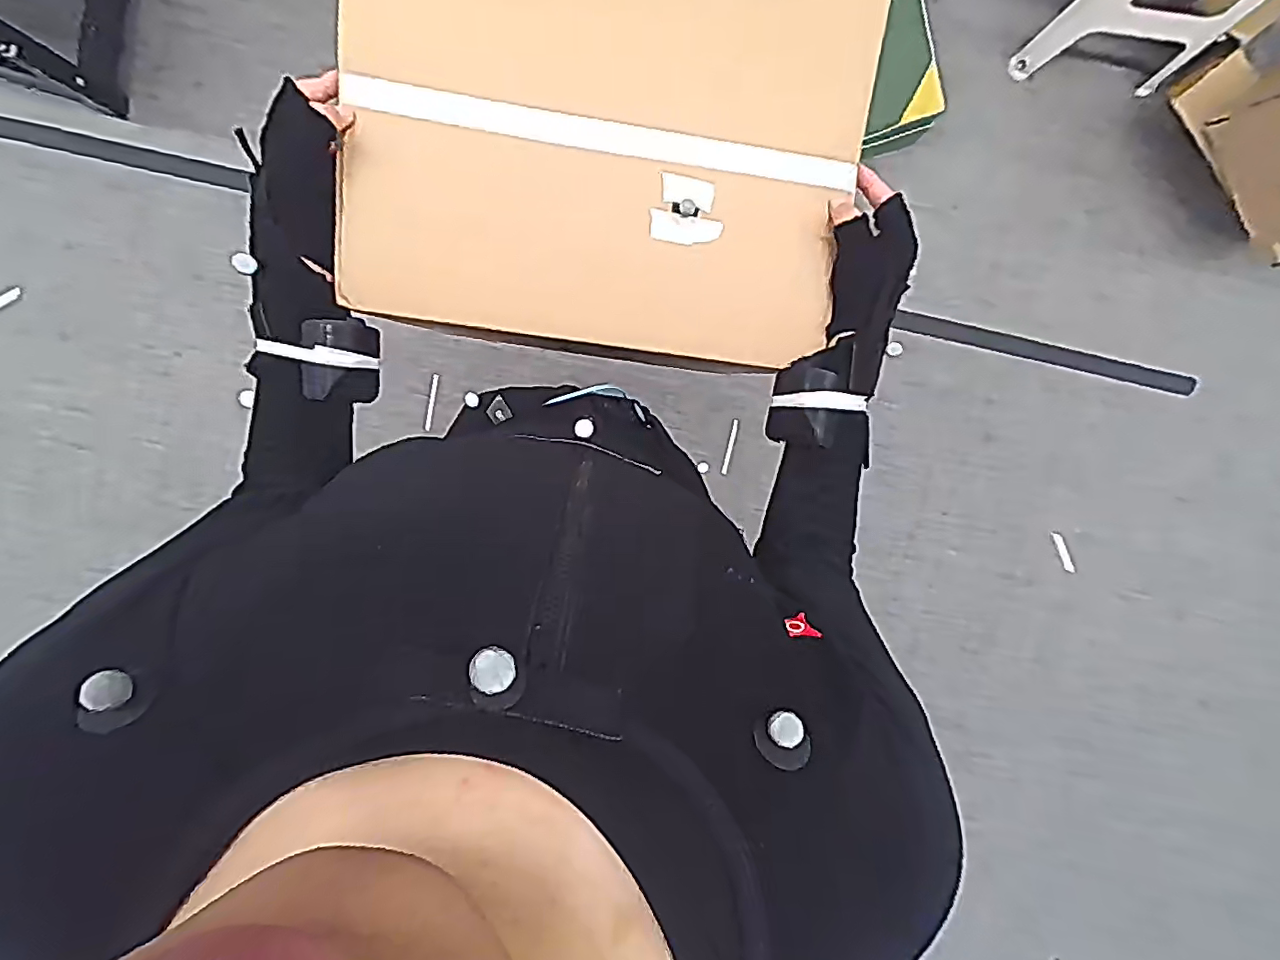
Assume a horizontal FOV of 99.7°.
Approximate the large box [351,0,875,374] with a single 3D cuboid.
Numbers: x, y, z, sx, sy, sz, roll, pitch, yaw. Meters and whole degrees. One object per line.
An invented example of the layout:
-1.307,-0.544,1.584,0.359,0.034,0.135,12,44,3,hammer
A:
-0.039,-0.292,0.582,0.408,0.320,0.320,6,101,-7,large box
